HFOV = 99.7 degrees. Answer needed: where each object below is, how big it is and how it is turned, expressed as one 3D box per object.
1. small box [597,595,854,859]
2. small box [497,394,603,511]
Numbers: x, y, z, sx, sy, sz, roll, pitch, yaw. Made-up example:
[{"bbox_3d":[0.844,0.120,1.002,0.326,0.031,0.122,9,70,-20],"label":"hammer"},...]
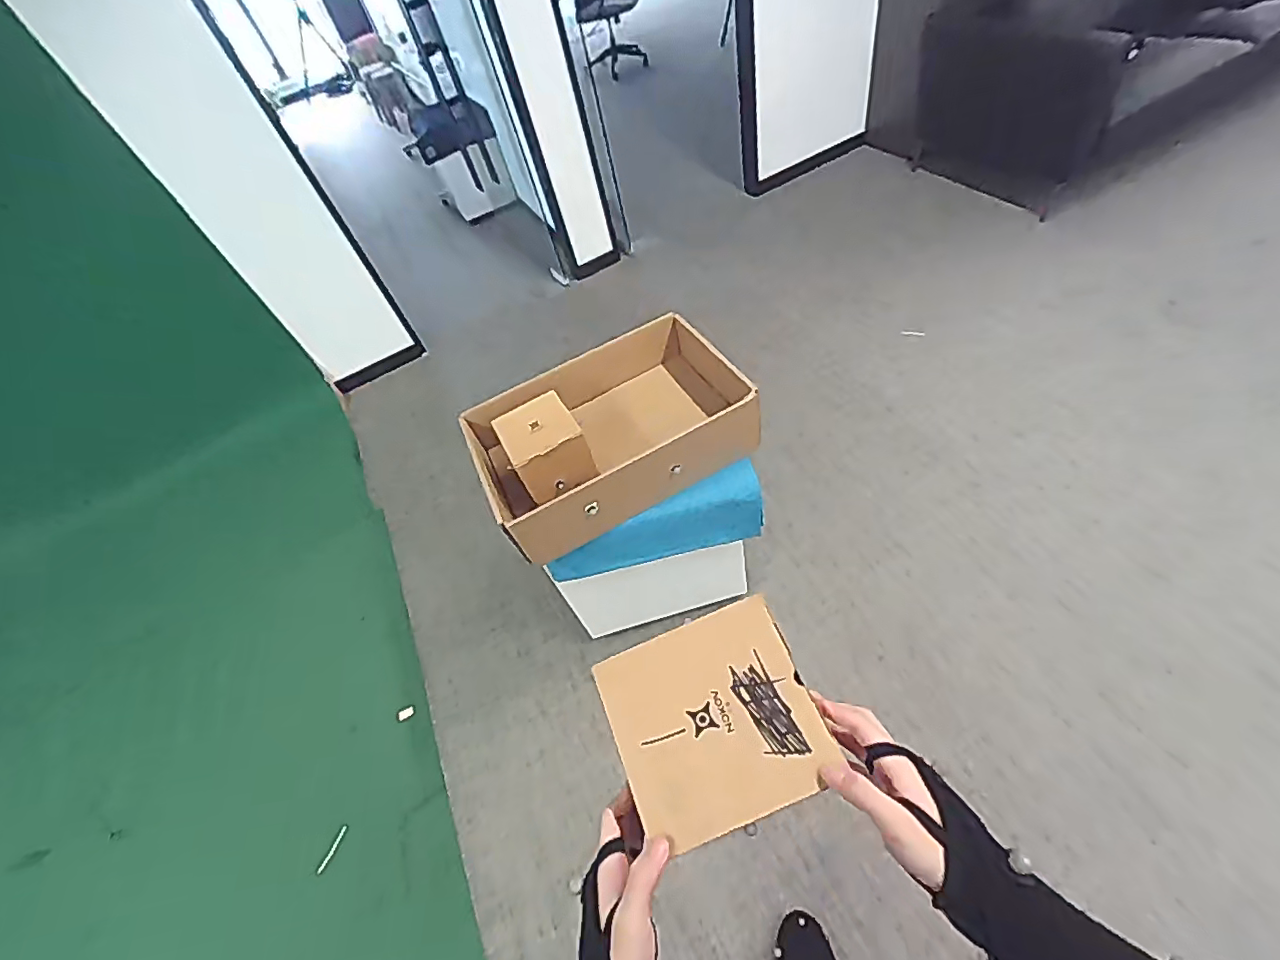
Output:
[{"bbox_3d":[0.078,0.238,0.538,0.179,0.176,0.168,-23,61,-1],"label":"small box"},{"bbox_3d":[-0.207,-0.062,1.256,0.168,0.176,0.179,-29,50,-10],"label":"small box"}]
